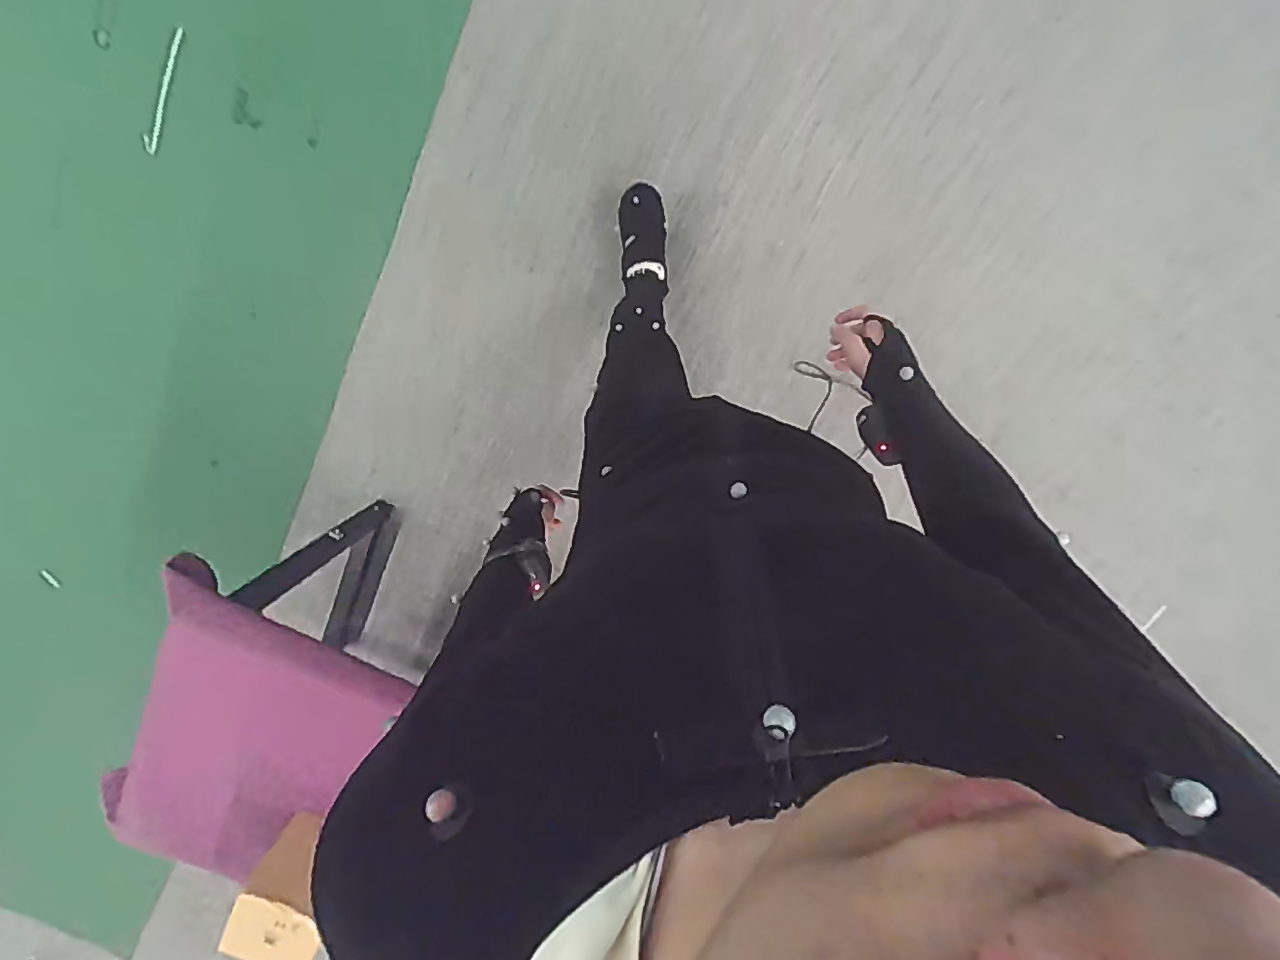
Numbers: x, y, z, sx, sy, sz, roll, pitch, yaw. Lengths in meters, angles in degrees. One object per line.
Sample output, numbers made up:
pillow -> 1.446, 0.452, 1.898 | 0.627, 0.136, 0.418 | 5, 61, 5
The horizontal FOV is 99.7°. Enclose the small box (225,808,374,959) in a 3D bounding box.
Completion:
small box -> -0.662, 0.803, 1.069 | 0.168, 0.176, 0.179 | 27, 106, -5
